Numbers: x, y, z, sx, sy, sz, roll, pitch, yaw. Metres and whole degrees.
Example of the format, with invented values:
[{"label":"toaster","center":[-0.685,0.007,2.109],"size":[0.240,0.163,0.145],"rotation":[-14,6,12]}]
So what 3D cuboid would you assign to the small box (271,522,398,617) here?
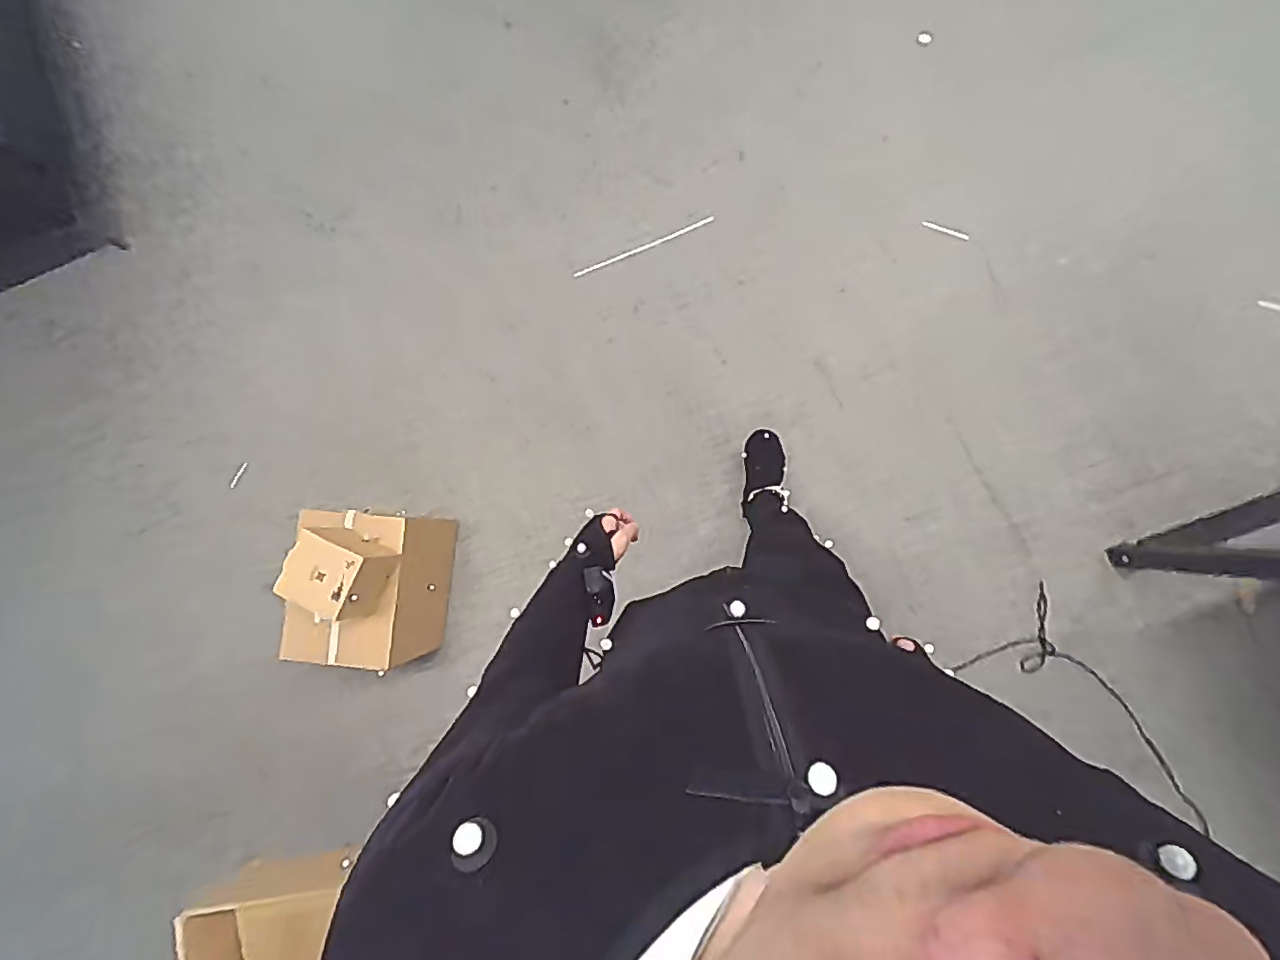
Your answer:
[{"label":"small box","center":[-0.738,0.215,1.325],"size":[0.179,0.176,0.168],"rotation":[24,88,7]}]

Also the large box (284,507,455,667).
[{"label":"large box","center":[-0.761,0.287,1.570],"size":[0.320,0.320,0.408],"rotation":[4,86,8]}]
